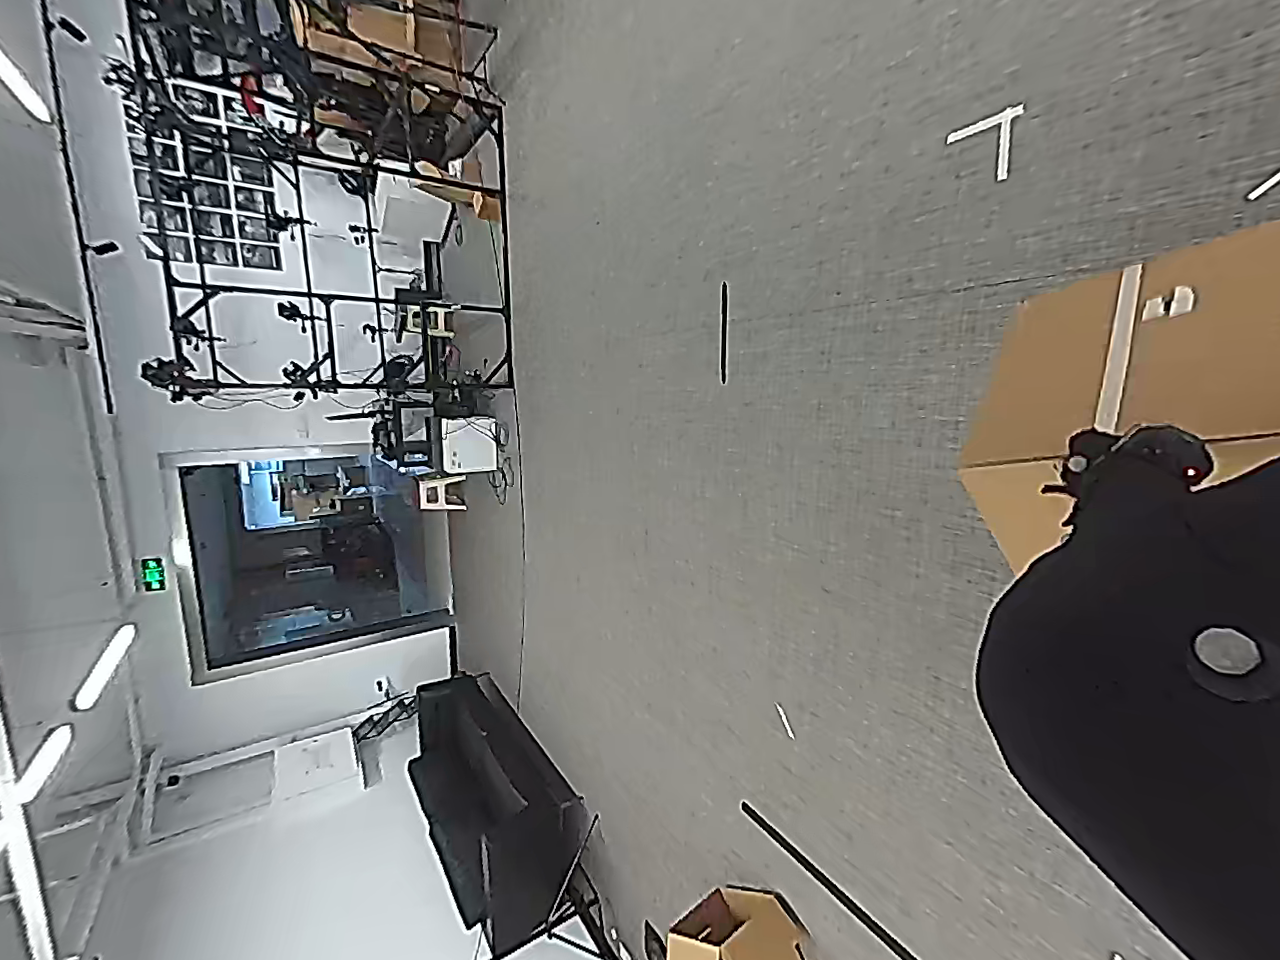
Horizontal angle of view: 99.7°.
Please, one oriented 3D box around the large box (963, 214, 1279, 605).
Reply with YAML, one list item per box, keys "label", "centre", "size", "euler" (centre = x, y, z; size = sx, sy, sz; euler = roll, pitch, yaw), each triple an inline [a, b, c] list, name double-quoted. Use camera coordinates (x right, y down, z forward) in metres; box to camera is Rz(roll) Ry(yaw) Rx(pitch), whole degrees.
- label: "large box"
  centre: [0.726, -0.080, 0.764]
  size: [0.320, 0.408, 0.320]
  euler: [48, 151, -22]
